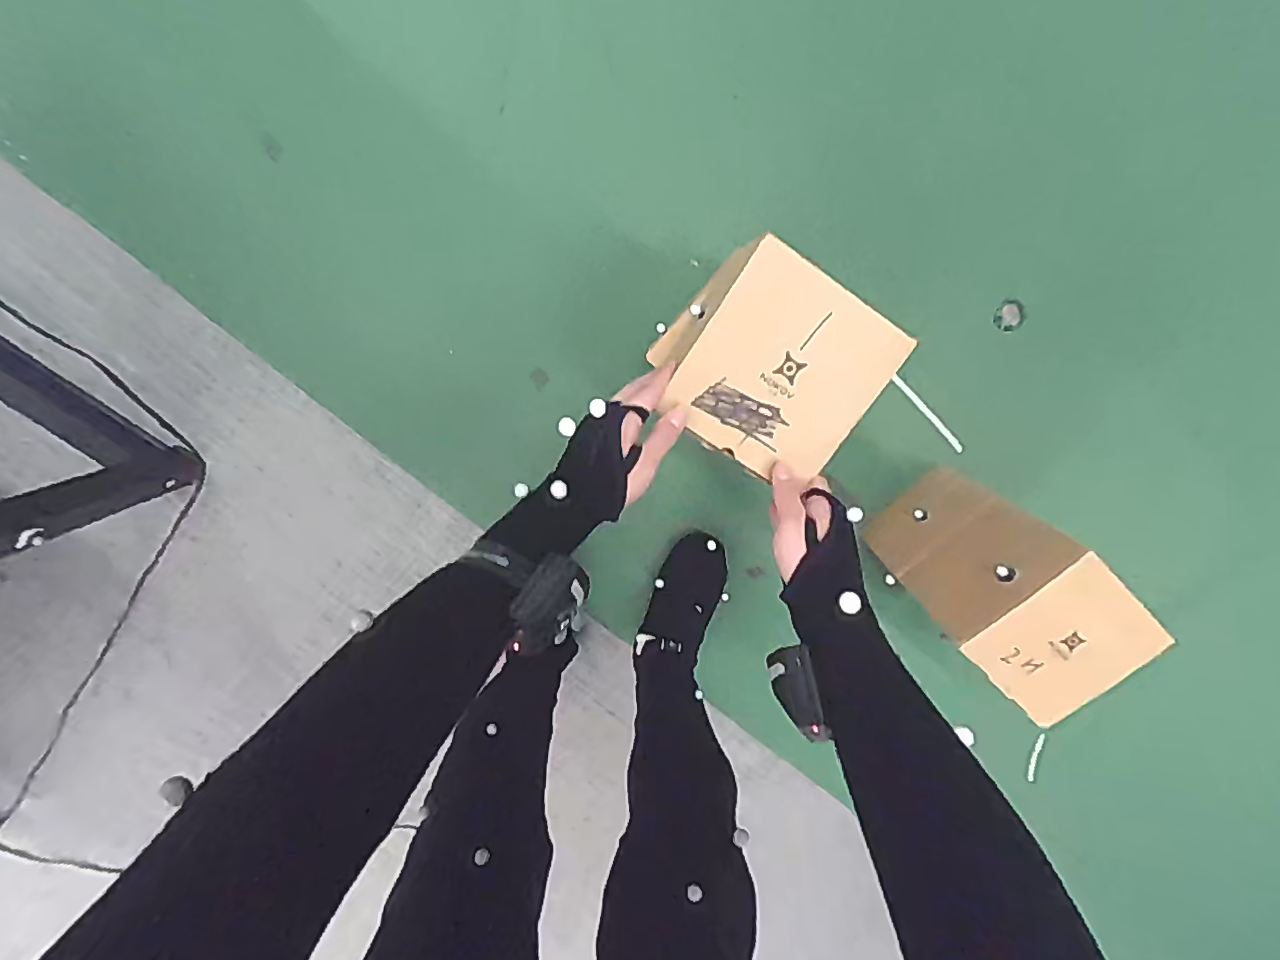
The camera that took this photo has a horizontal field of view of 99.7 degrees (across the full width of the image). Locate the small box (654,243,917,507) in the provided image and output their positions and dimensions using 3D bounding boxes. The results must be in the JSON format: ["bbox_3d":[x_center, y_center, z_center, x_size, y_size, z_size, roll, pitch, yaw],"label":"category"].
[{"bbox_3d":[0.127,-0.106,0.549,0.168,0.176,0.179,30,104,-9],"label":"small box"}]

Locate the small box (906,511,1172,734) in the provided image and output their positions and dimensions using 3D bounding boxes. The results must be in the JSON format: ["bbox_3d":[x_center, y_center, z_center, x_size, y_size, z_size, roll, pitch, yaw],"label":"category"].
[{"bbox_3d":[0.484,0.168,0.687,0.168,0.176,0.179,42,104,-10],"label":"small box"}]

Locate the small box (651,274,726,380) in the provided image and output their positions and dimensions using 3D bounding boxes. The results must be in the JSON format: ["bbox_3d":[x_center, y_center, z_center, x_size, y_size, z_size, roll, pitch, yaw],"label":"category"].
[{"bbox_3d":[0.129,-0.178,0.768,0.168,0.176,0.179,41,105,-10],"label":"small box"}]
